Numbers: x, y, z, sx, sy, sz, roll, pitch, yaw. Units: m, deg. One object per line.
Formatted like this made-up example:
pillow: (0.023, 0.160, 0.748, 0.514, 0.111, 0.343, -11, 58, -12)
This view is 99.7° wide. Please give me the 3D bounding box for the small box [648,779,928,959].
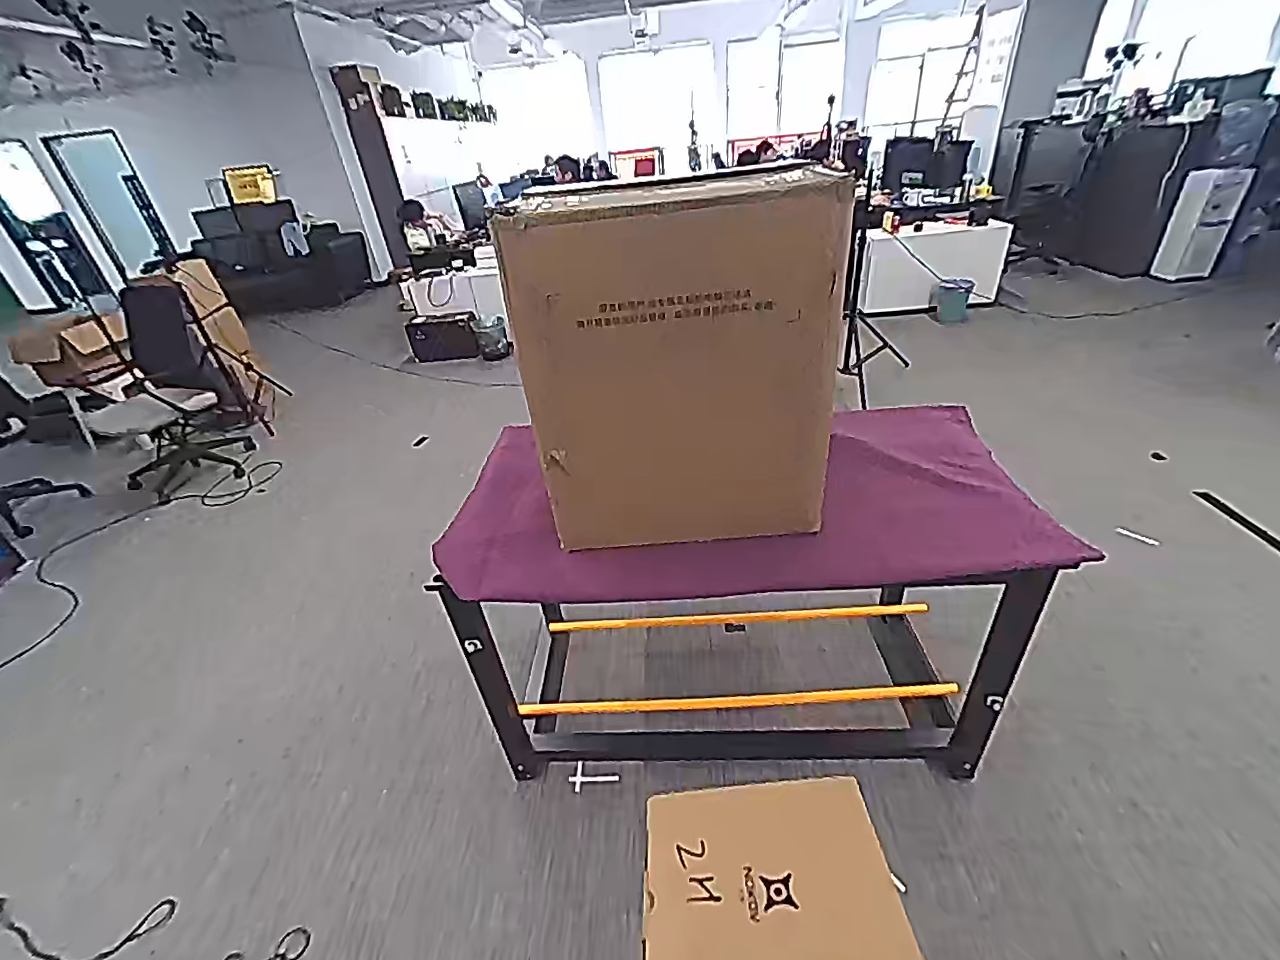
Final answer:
small box: (0.106, 0.361, 0.404, 0.179, 0.176, 0.168, -10, 20, 6)
